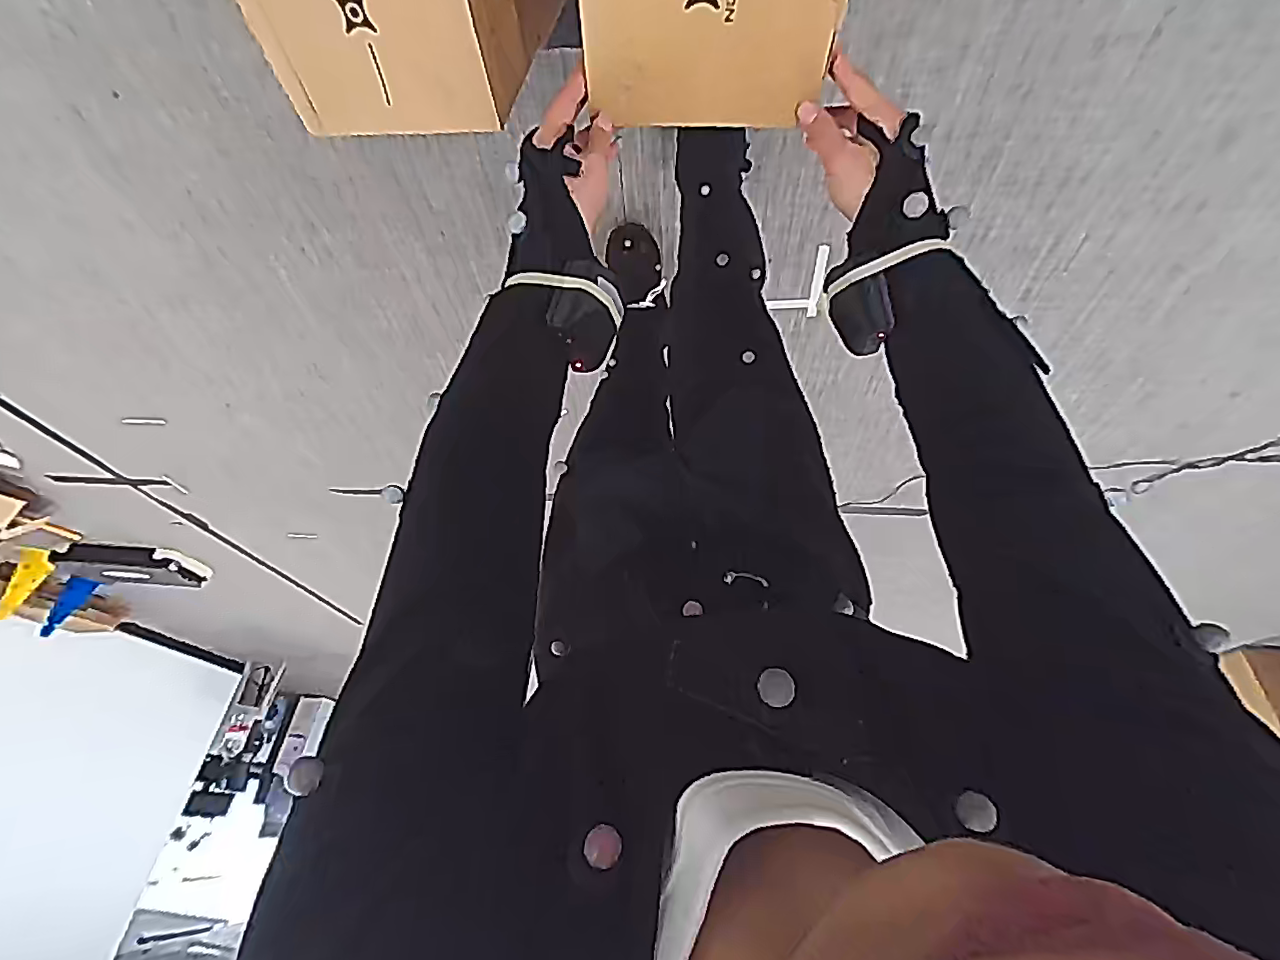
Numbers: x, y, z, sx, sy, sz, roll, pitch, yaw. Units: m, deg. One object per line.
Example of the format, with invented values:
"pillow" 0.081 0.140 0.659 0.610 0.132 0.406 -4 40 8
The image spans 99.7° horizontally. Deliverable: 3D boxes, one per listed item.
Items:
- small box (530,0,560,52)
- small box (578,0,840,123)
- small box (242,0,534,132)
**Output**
"small box" -0.173 -0.532 0.500 0.168 0.176 0.179 3 147 4
"small box" 0.050 -0.389 0.392 0.179 0.176 0.168 2 147 3
"small box" -0.187 -0.397 0.408 0.168 0.176 0.179 2 147 5
